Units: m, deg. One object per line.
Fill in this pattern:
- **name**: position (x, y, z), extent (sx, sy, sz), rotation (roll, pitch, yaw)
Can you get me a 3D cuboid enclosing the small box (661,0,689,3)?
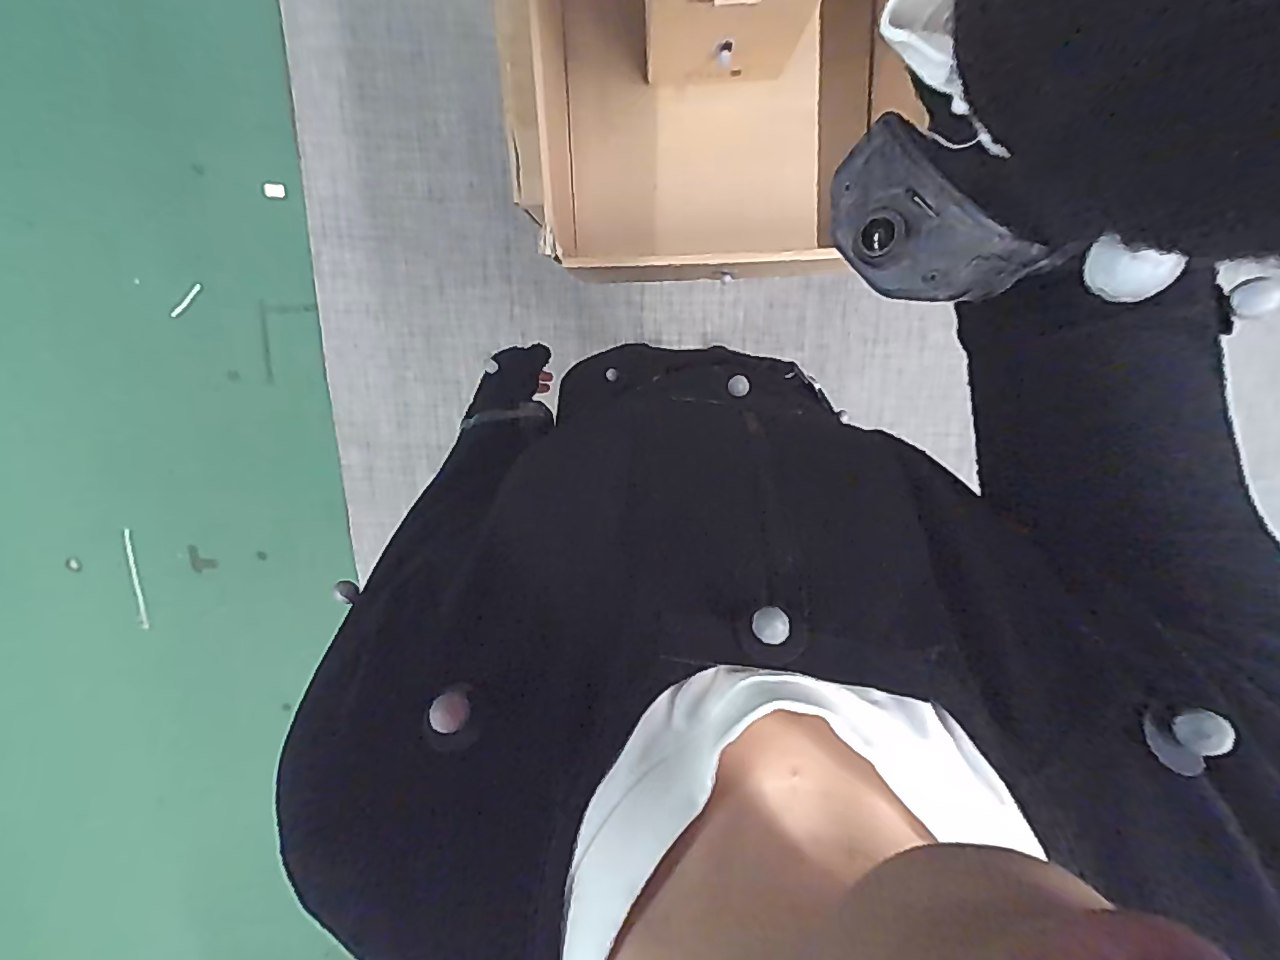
- **small box**: position (0.078, -0.508, 0.398), extent (0.168, 0.176, 0.179), rotation (-4, 104, 3)
